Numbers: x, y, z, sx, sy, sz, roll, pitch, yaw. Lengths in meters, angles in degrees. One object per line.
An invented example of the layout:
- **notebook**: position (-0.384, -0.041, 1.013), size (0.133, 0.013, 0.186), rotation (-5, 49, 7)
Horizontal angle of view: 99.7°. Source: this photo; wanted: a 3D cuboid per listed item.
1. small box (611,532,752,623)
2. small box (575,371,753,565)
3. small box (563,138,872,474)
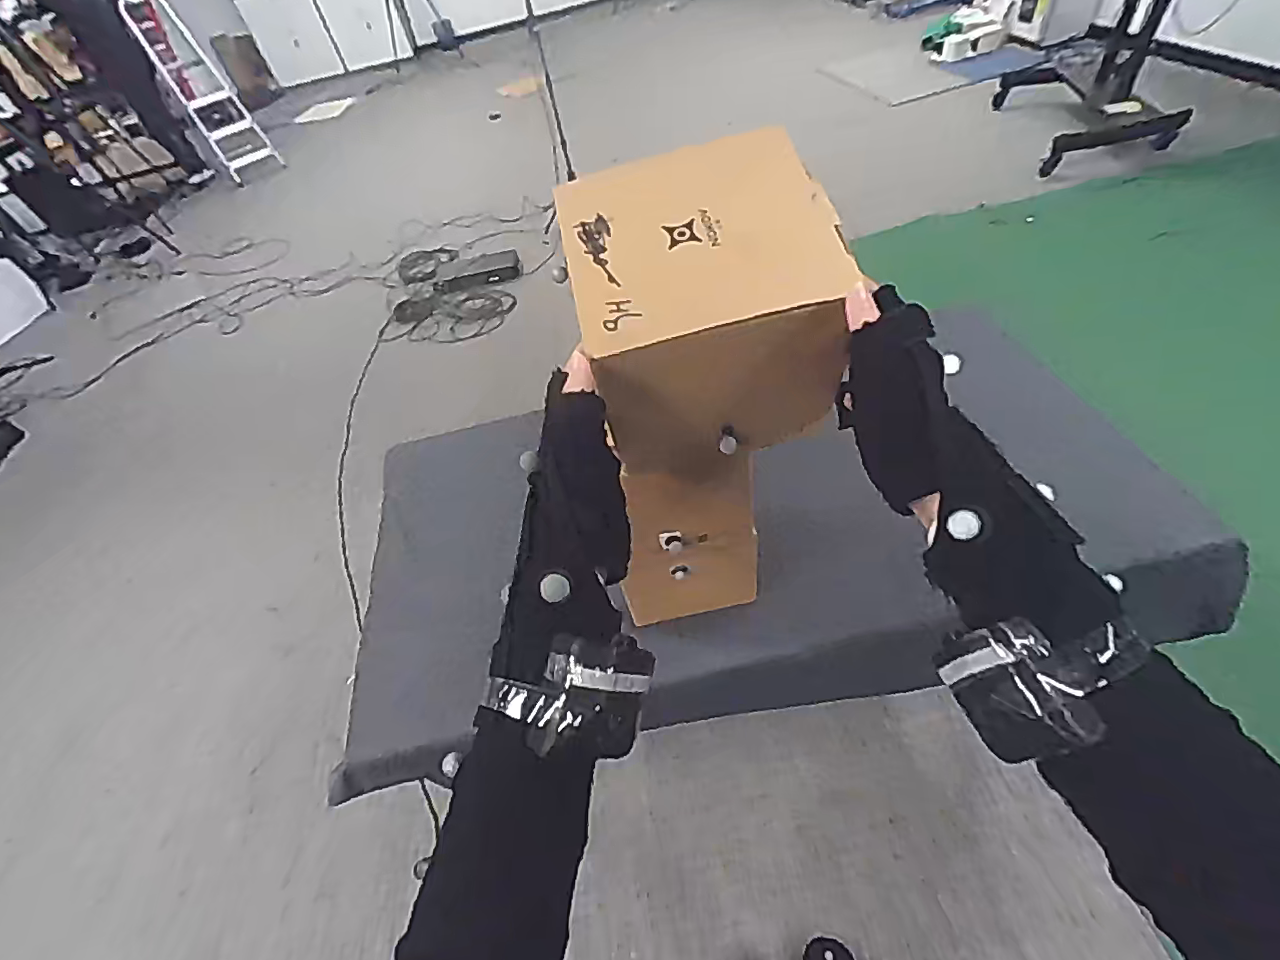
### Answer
- **small box**: position (0.057, 0.086, 0.775), size (0.179, 0.176, 0.168), rotation (-12, 50, 1)
- **small box**: position (0.029, -0.027, 0.640), size (0.168, 0.176, 0.179), rotation (-15, 50, 2)
- **small box**: position (0.049, -0.124, 0.429), size (0.179, 0.176, 0.168), rotation (-12, 63, 1)
